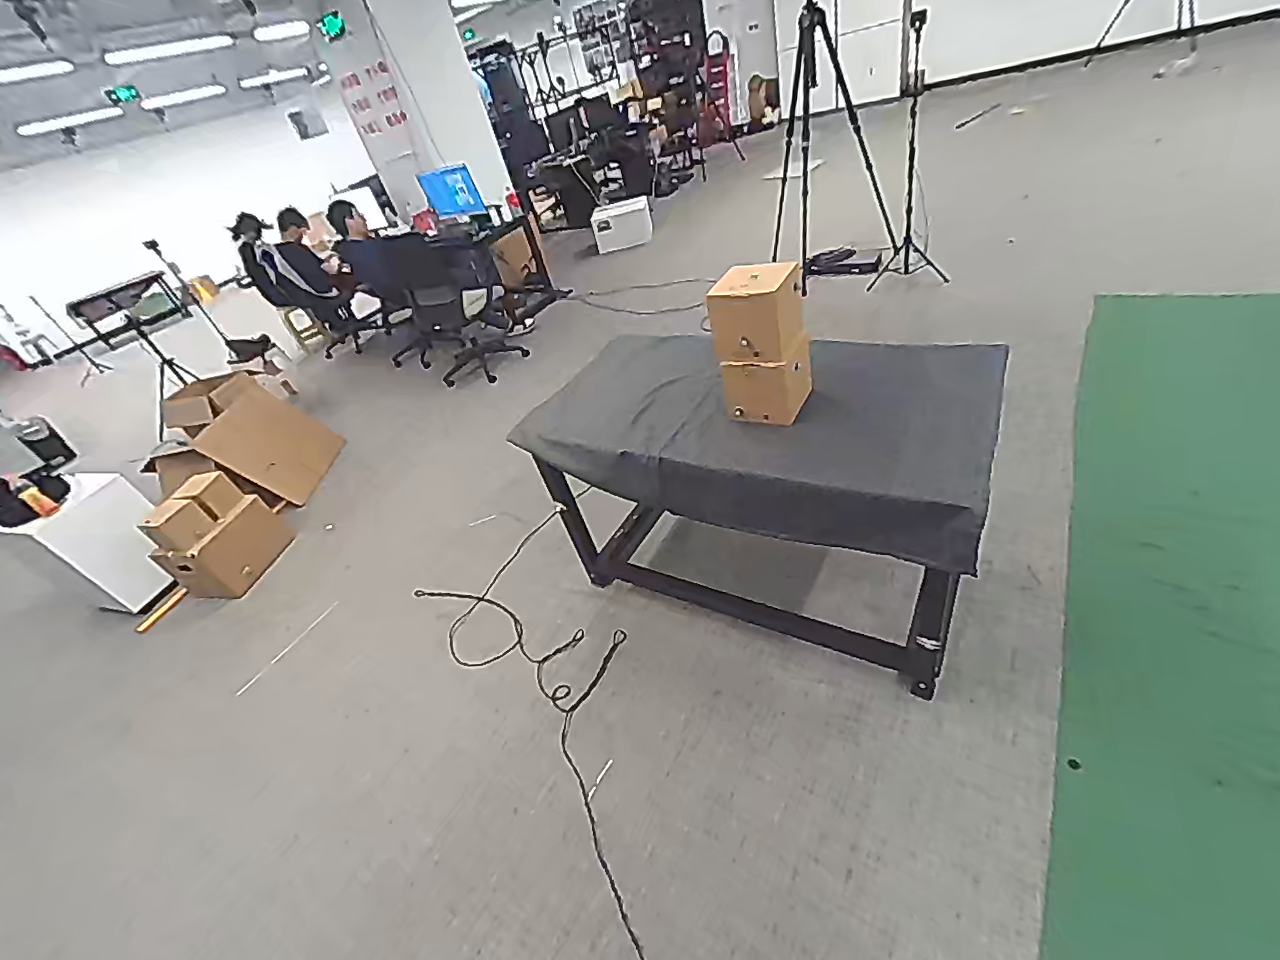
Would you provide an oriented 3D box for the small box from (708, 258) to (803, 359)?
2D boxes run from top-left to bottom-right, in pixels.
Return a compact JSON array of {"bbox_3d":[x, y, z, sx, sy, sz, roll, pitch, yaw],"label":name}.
[{"bbox_3d":[0.280,-0.403,1.277,0.168,0.176,0.179,9,45,32],"label":"small box"}]

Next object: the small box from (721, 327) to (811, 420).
[{"bbox_3d":[0.325,-0.267,1.360,0.168,0.176,0.179,10,45,32],"label":"small box"}]
